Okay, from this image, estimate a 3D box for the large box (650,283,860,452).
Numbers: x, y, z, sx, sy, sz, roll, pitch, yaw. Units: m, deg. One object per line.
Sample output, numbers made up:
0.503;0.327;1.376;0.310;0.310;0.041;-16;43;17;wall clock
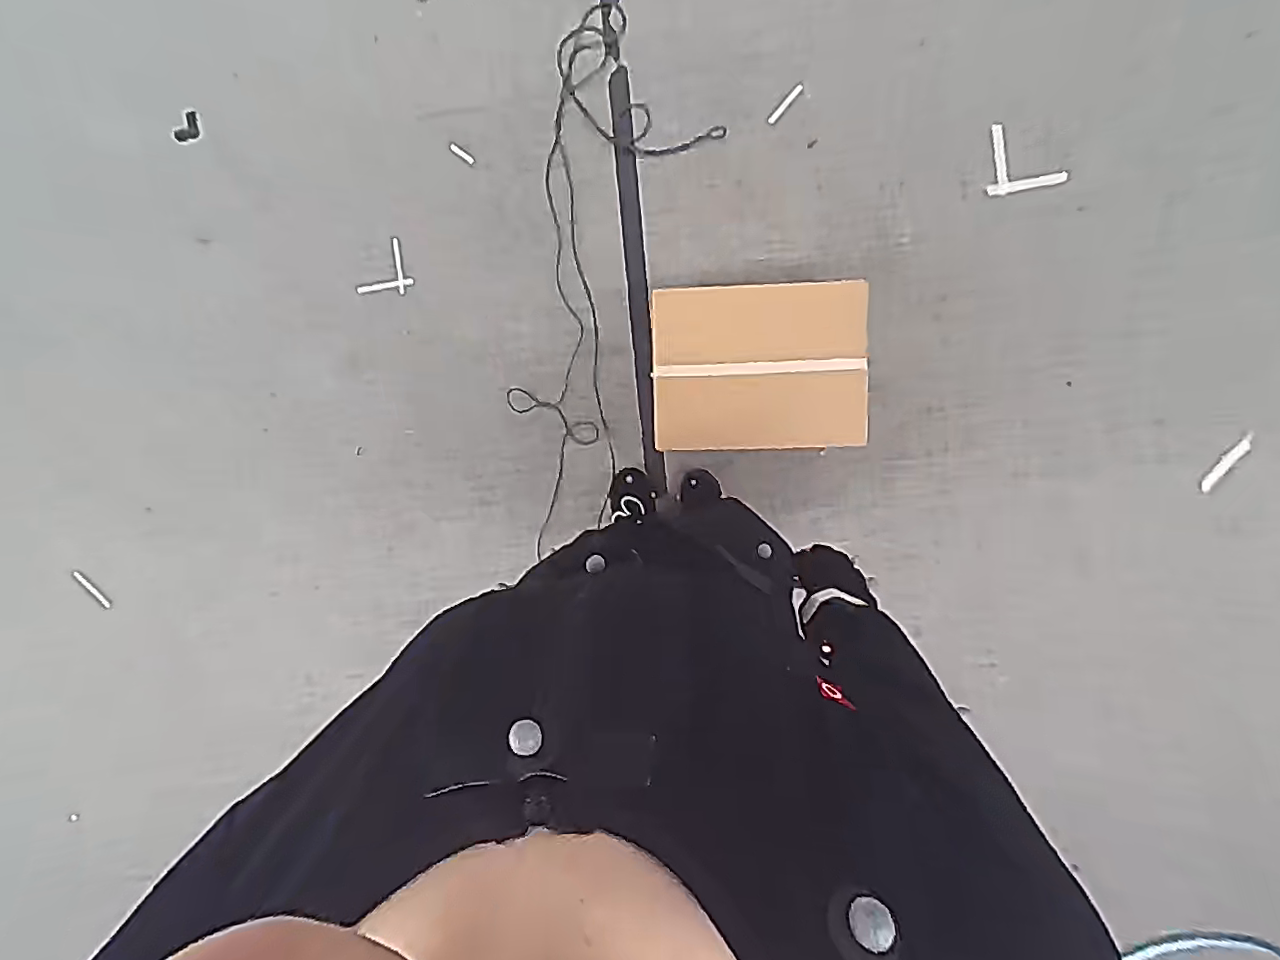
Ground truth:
0.235;-0.224;1.192;0.408;0.320;0.320;-1;93;5;large box
